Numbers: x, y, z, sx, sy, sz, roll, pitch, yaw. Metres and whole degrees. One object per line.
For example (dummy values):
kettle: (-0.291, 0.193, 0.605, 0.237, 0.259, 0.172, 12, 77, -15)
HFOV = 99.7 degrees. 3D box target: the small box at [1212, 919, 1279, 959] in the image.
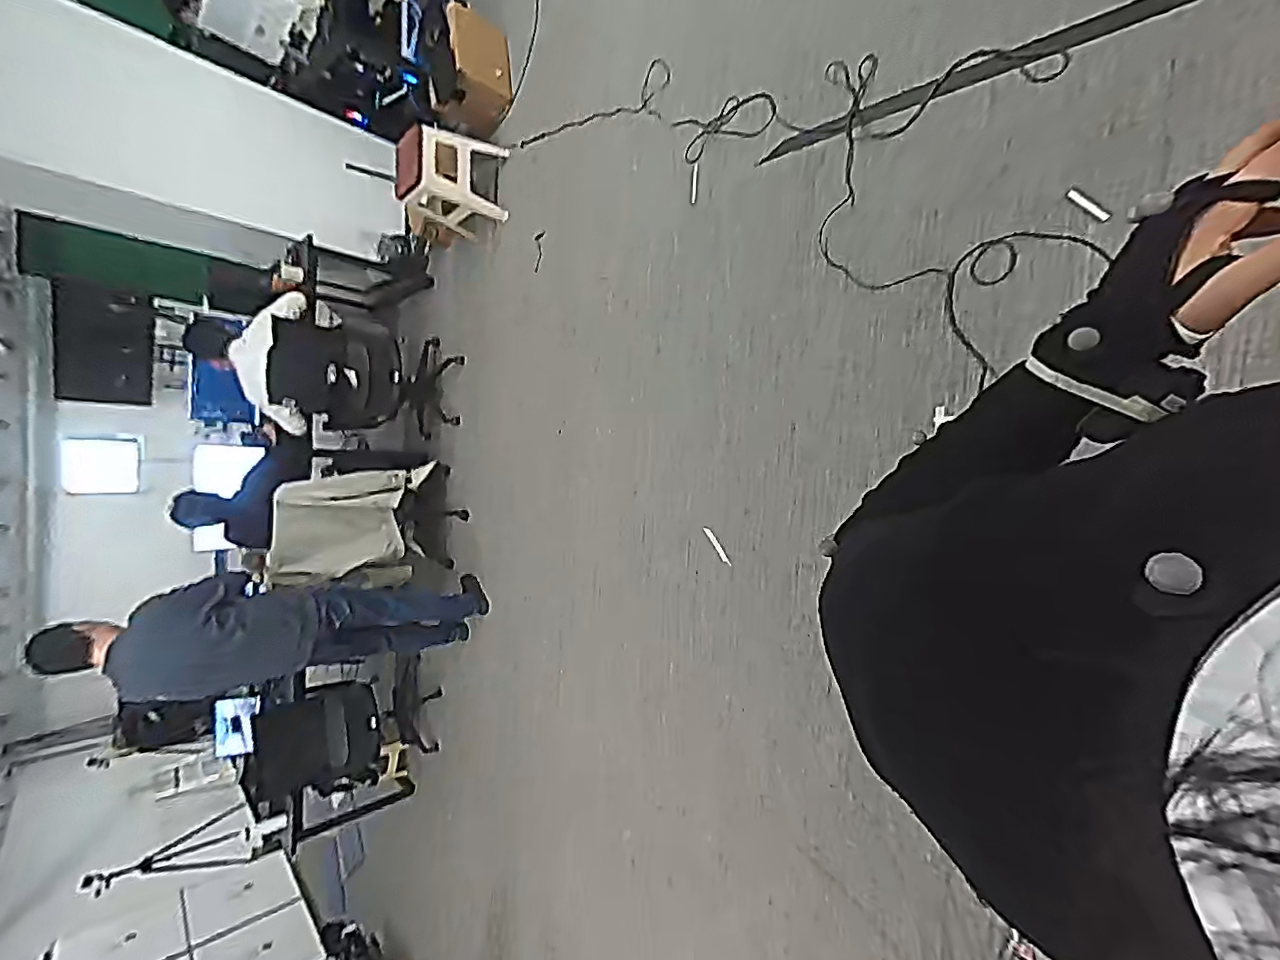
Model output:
small box: (0.764, 0.663, 0.606, 0.168, 0.176, 0.179, 4, 91, 44)
